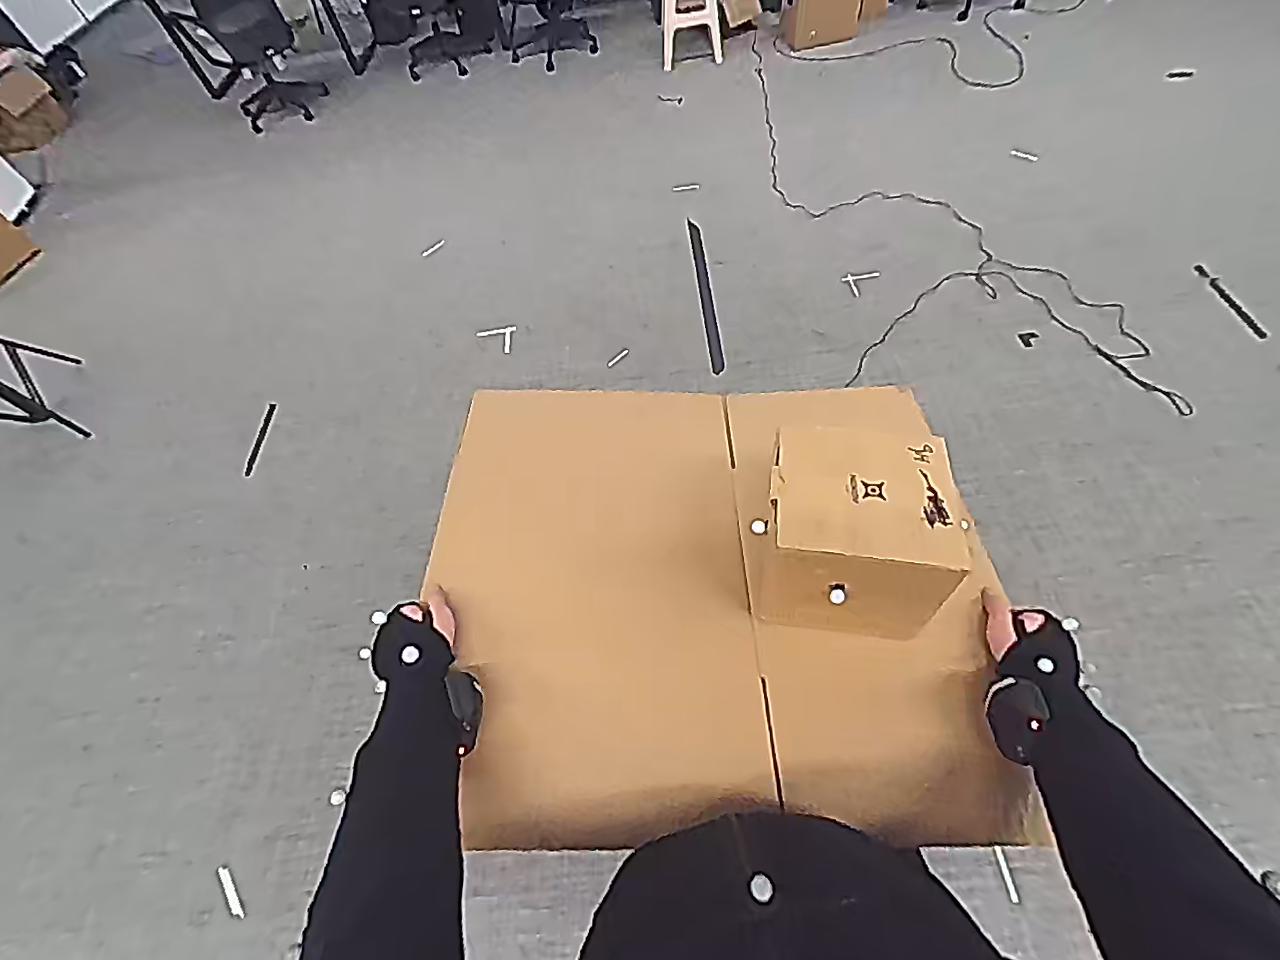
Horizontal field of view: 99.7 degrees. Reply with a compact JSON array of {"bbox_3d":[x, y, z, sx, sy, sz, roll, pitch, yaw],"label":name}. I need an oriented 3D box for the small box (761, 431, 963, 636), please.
[{"bbox_3d":[0.235,0.064,0.619,0.179,0.176,0.168,5,53,11],"label":"small box"}]
